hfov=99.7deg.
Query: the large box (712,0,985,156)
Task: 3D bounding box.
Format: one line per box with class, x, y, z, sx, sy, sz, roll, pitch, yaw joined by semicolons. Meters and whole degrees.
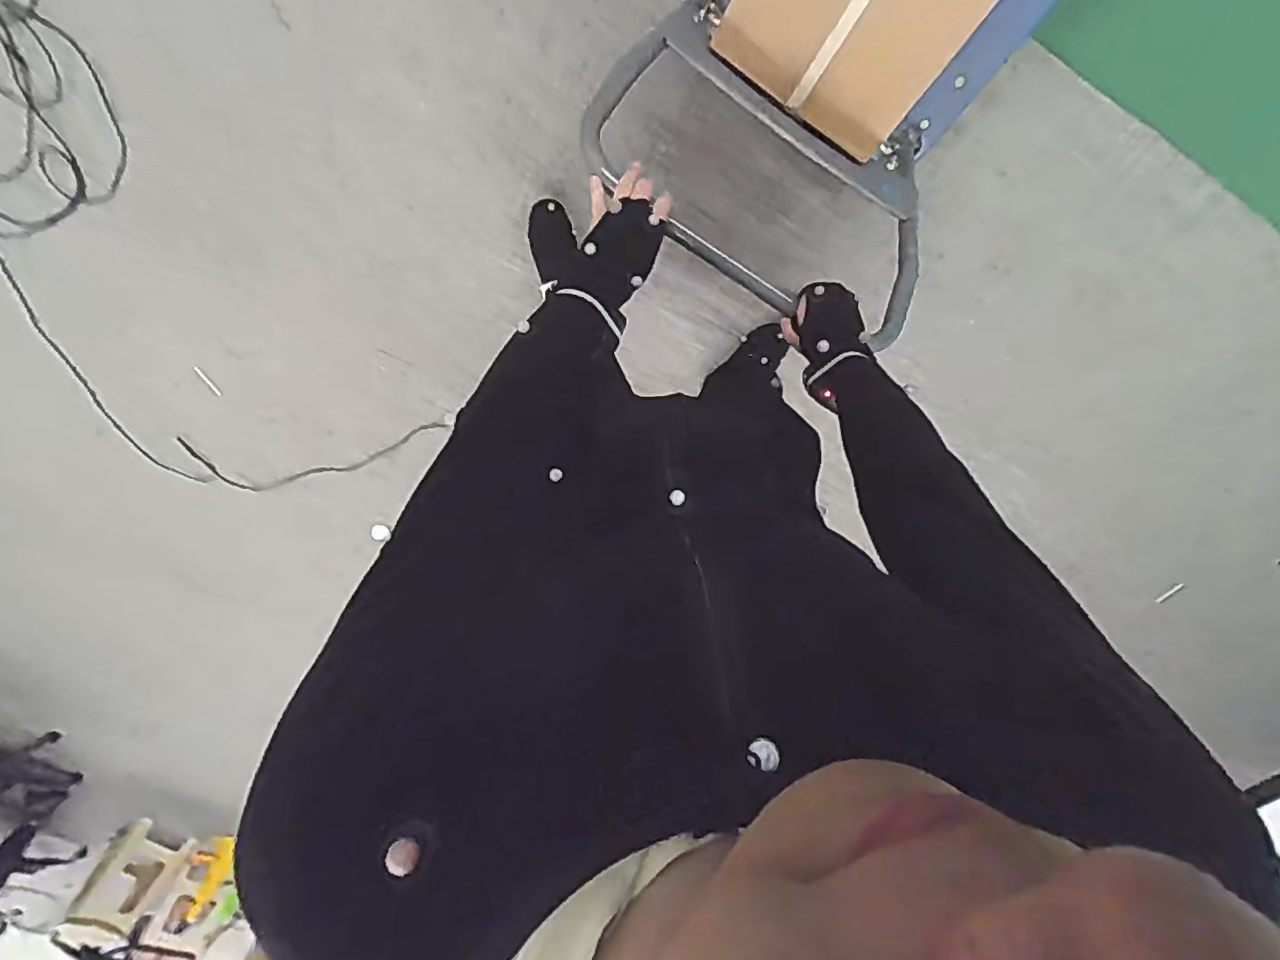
large box;0.366;-0.815;0.830;0.320;0.320;0.408;30;138;-11
